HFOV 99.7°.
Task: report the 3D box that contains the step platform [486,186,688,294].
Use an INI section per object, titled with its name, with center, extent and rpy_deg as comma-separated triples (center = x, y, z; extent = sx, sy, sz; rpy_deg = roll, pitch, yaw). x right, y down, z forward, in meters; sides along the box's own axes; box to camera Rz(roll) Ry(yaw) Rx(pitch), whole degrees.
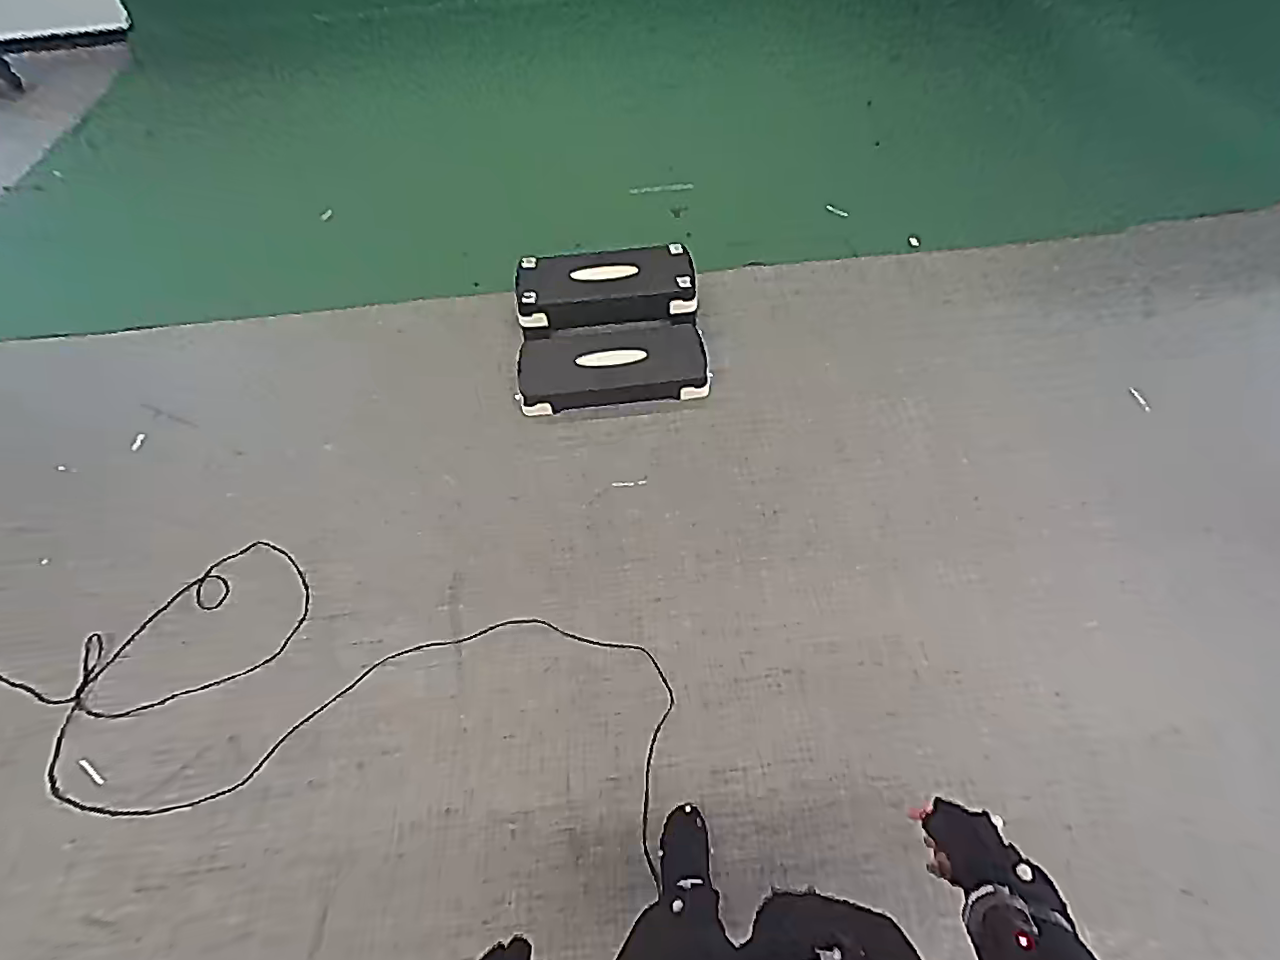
[step platform]
center = -0.177, -0.845, 1.906
extent = 0.684, 0.204, 0.286
rpy_deg = -6, 58, -1
